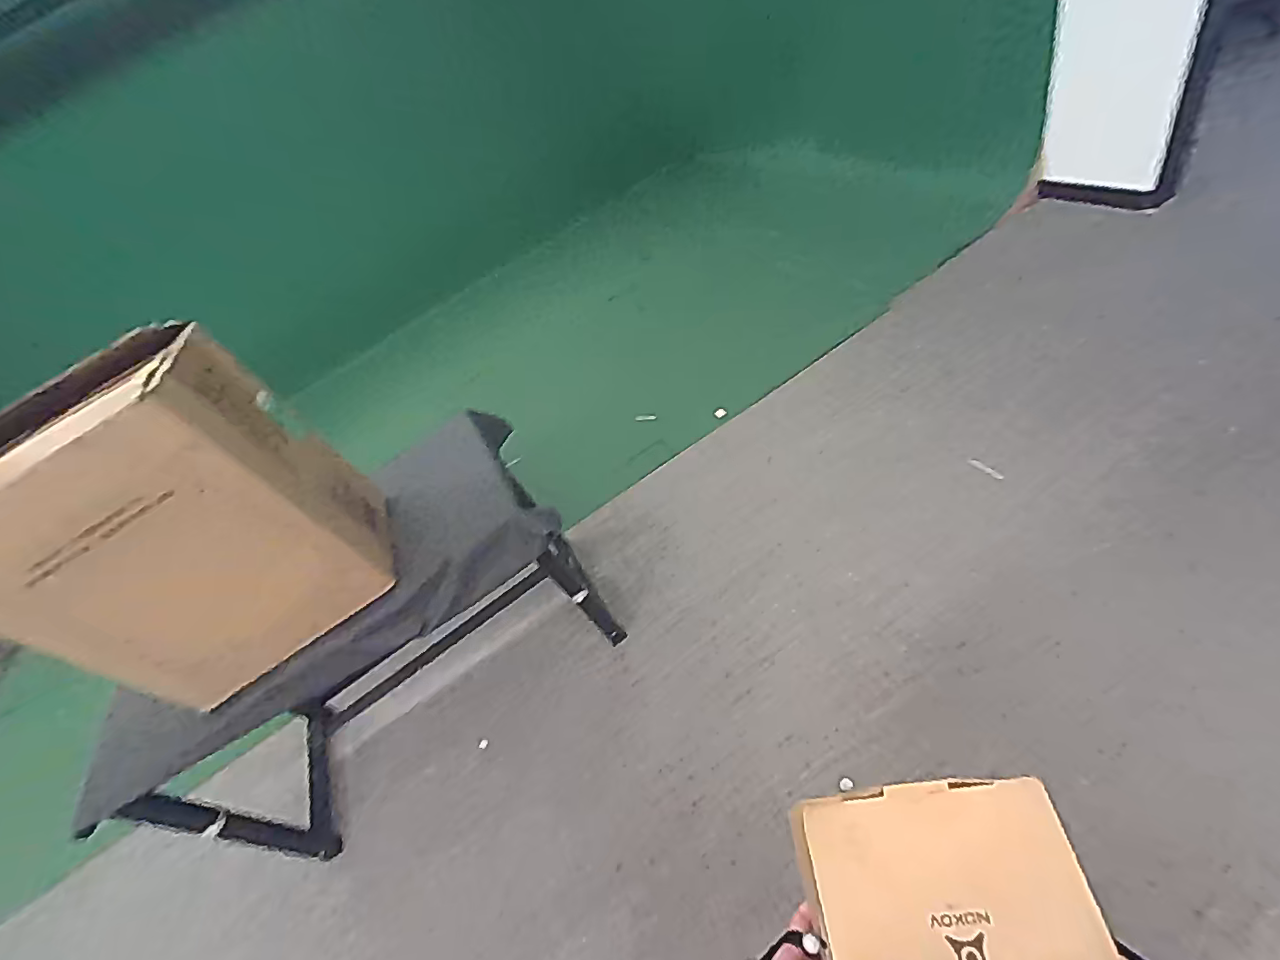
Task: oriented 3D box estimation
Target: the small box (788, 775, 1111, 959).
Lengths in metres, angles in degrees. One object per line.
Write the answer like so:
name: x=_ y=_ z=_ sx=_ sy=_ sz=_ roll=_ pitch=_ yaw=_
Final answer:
small box: x=0.211 y=0.331 z=0.399 sx=0.168 sy=0.176 sz=0.179 roll=-11 pitch=57 yaw=6
